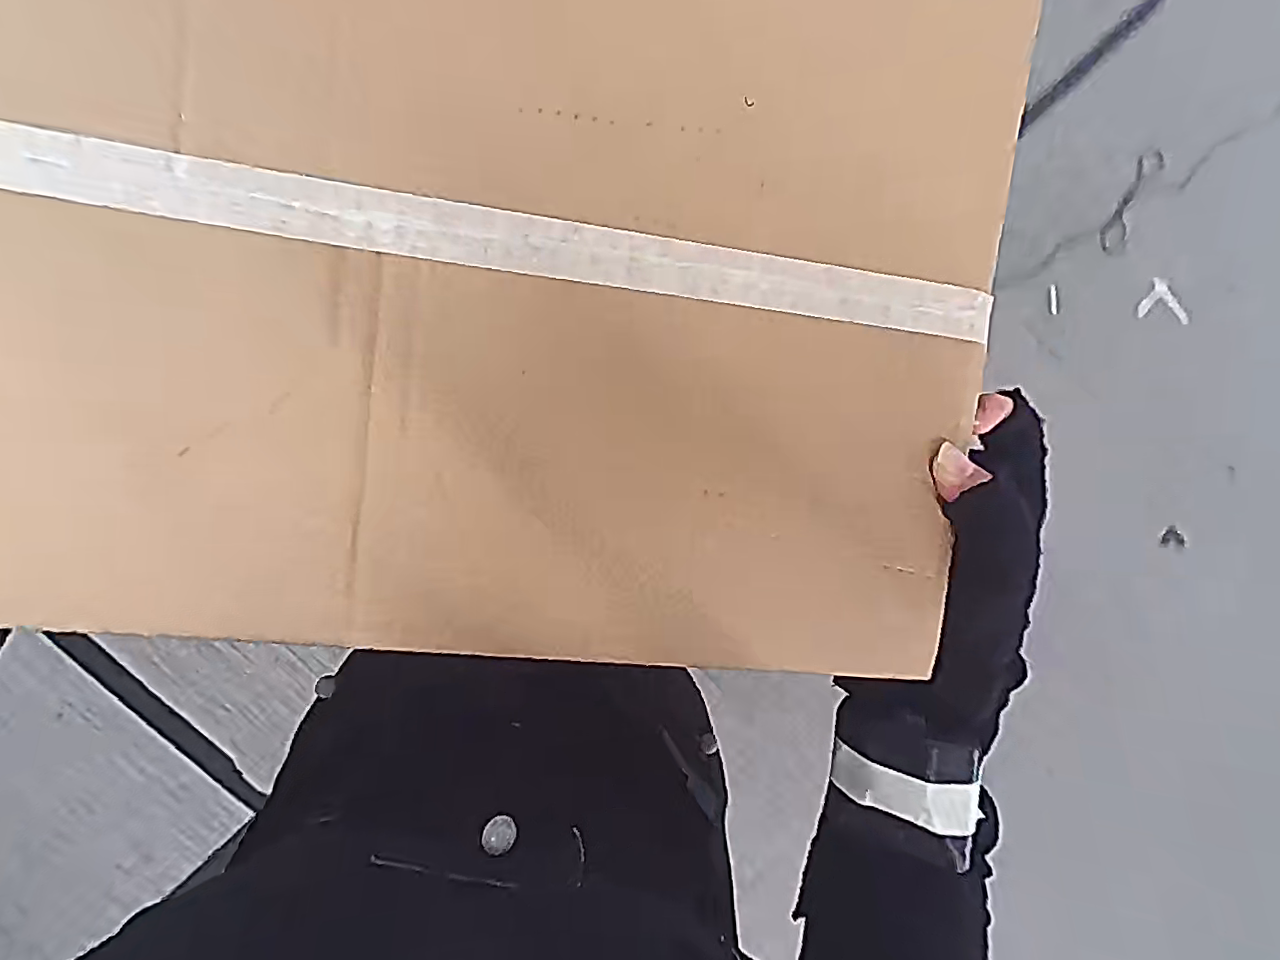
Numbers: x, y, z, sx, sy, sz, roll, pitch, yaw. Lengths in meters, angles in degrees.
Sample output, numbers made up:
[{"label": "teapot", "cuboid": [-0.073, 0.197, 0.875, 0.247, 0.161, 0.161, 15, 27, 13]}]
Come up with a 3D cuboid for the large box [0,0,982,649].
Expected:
[{"label": "large box", "cuboid": [-0.083, -0.102, 0.356, 0.408, 0.320, 0.320, 5, 94, -8]}]
